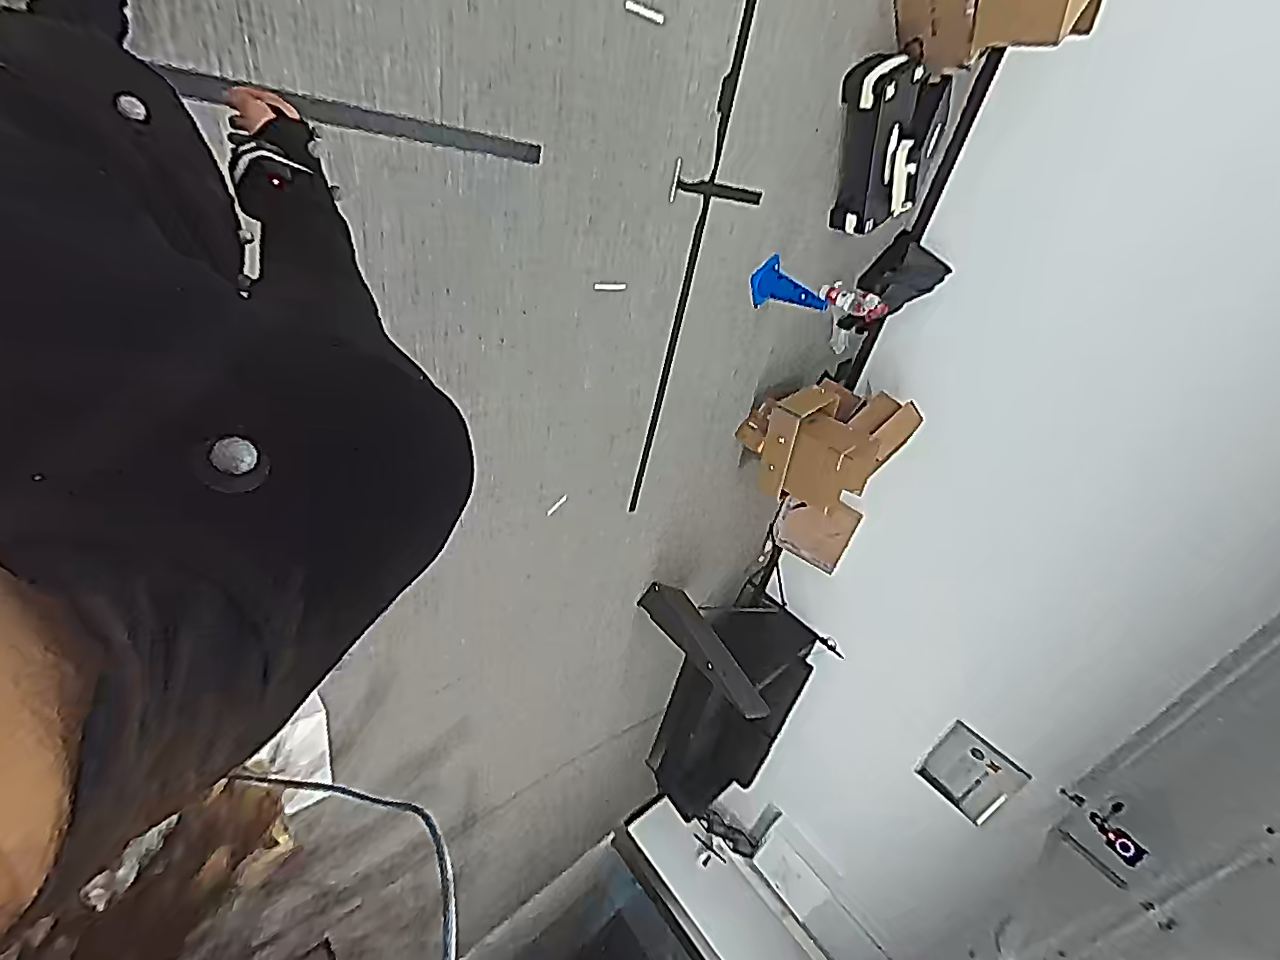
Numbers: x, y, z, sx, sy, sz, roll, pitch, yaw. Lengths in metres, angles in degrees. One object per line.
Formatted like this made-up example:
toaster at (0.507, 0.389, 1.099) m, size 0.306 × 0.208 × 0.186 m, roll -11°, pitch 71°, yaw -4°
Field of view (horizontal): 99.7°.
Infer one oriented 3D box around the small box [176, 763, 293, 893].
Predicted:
small box at (-0.976, 0.829, 1.305) m, size 0.179 × 0.176 × 0.168 m, roll -21°, pitch 135°, yaw -36°
